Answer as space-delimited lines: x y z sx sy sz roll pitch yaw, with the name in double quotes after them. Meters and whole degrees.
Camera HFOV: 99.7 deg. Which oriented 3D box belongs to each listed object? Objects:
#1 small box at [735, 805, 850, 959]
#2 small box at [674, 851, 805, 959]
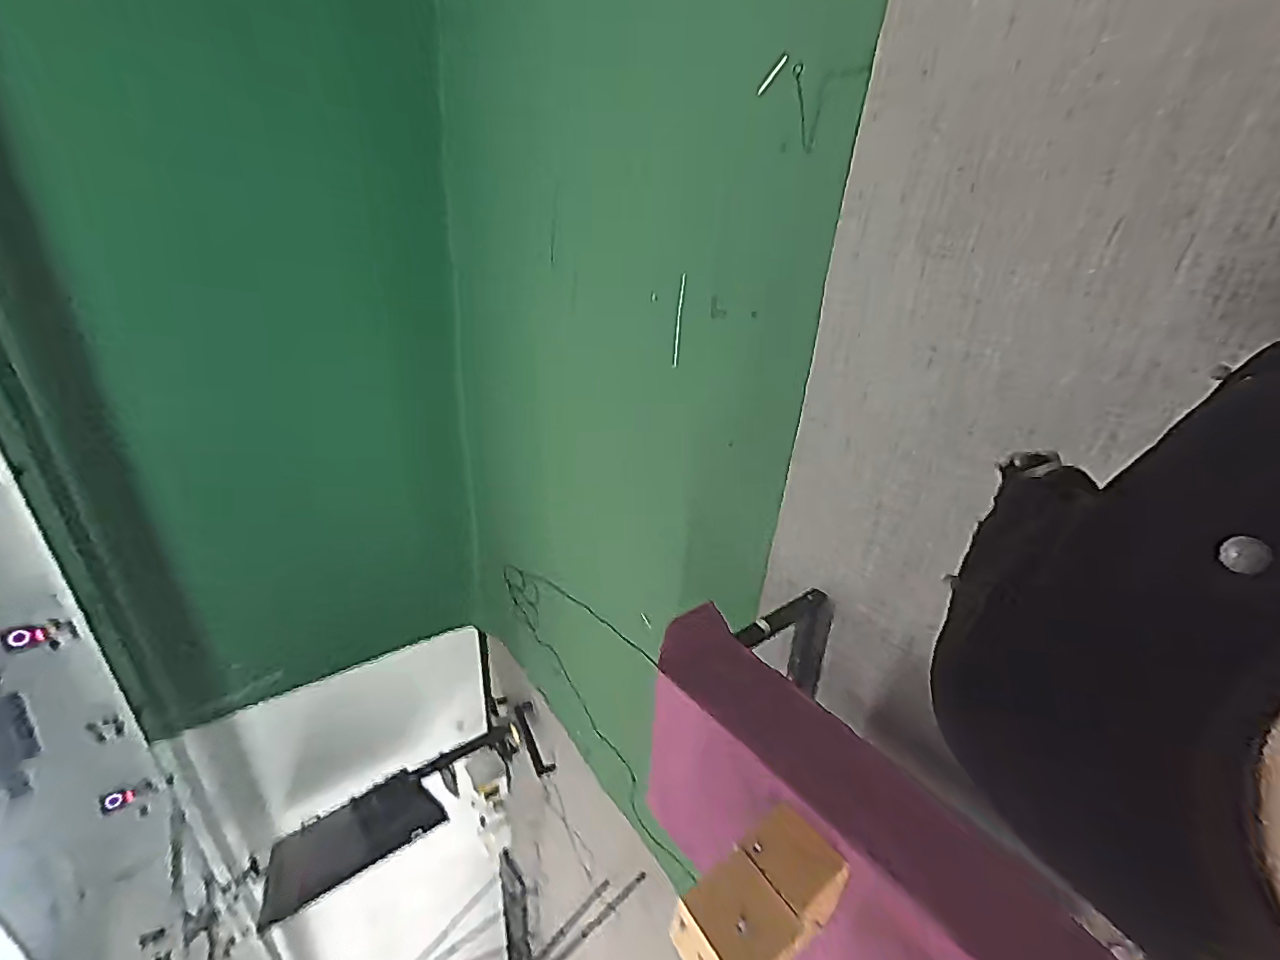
0.319 0.849 1.155 0.179 0.176 0.168 31 127 45 "small box"
0.193 0.886 1.056 0.179 0.176 0.168 36 130 42 "small box"
